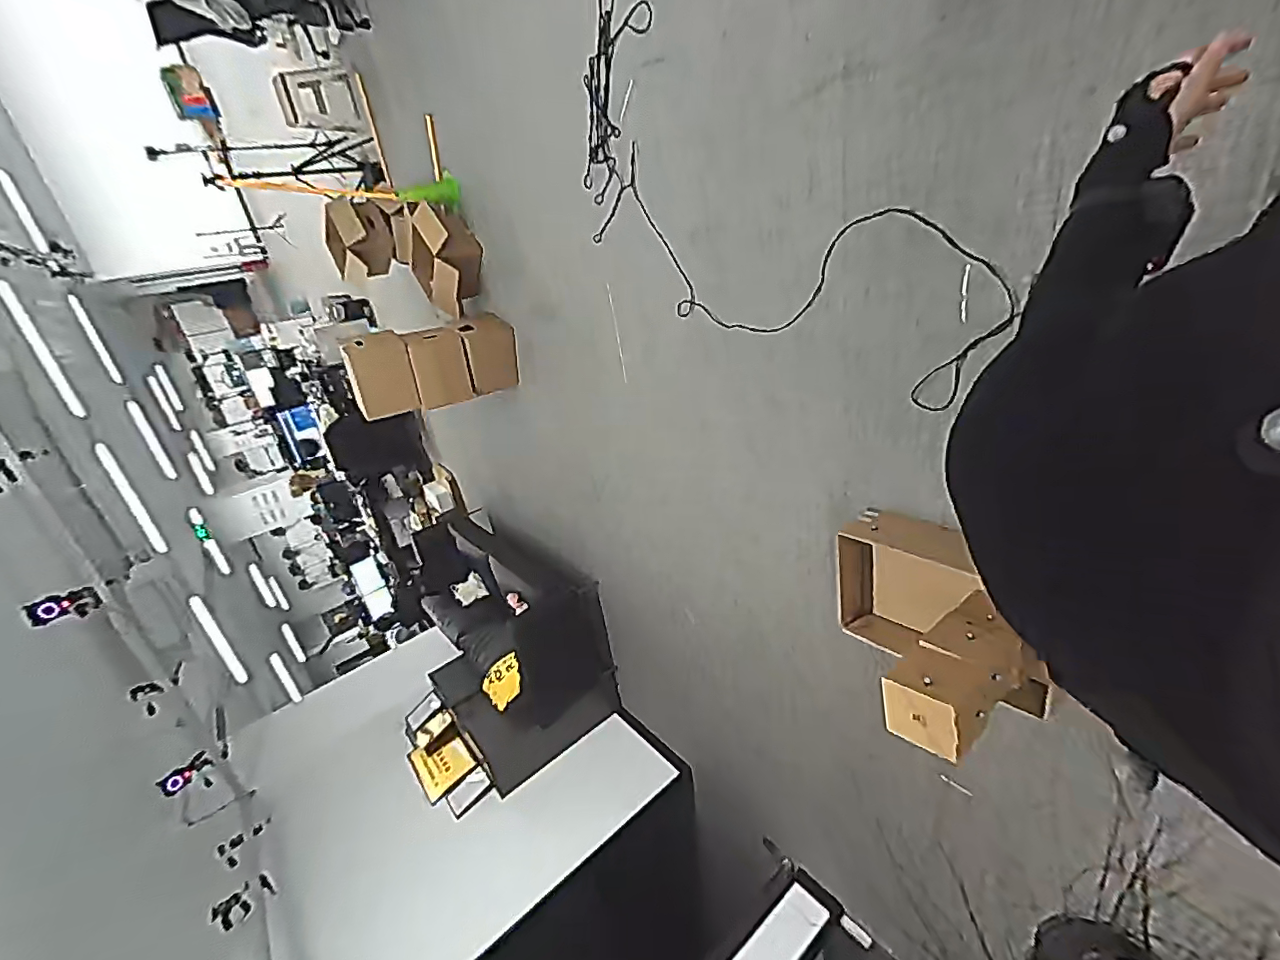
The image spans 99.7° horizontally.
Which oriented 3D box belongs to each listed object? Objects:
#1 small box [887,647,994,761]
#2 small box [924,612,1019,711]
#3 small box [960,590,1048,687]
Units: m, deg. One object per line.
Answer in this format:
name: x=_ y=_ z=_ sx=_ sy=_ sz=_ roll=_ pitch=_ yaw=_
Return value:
small box: x=0.739 y=0.537 z=1.330 sx=0.179 sy=0.176 sz=0.168 roll=9 pitch=117 yaw=53
small box: x=0.864 y=0.477 z=1.416 sx=0.168 sy=0.176 sz=0.179 roll=20 pitch=126 yaw=50
small box: x=0.998 y=0.428 z=1.496 sx=0.179 sy=0.176 sz=0.168 roll=15 pitch=123 yaw=53
